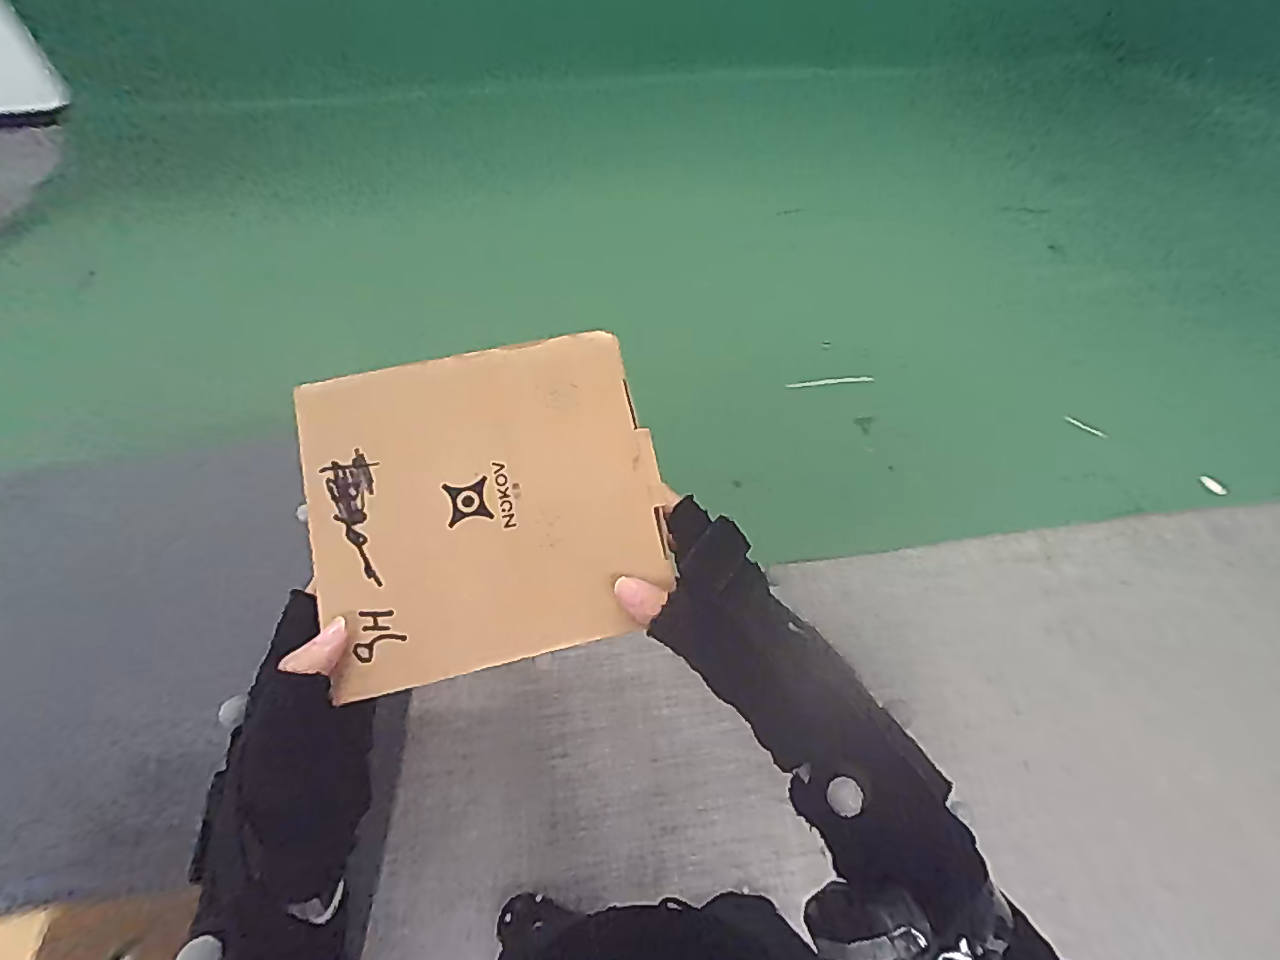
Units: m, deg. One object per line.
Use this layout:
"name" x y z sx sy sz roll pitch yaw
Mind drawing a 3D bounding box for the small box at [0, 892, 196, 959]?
"small box" -0.499 0.443 0.419 0.168 0.176 0.179 -9 58 -4
